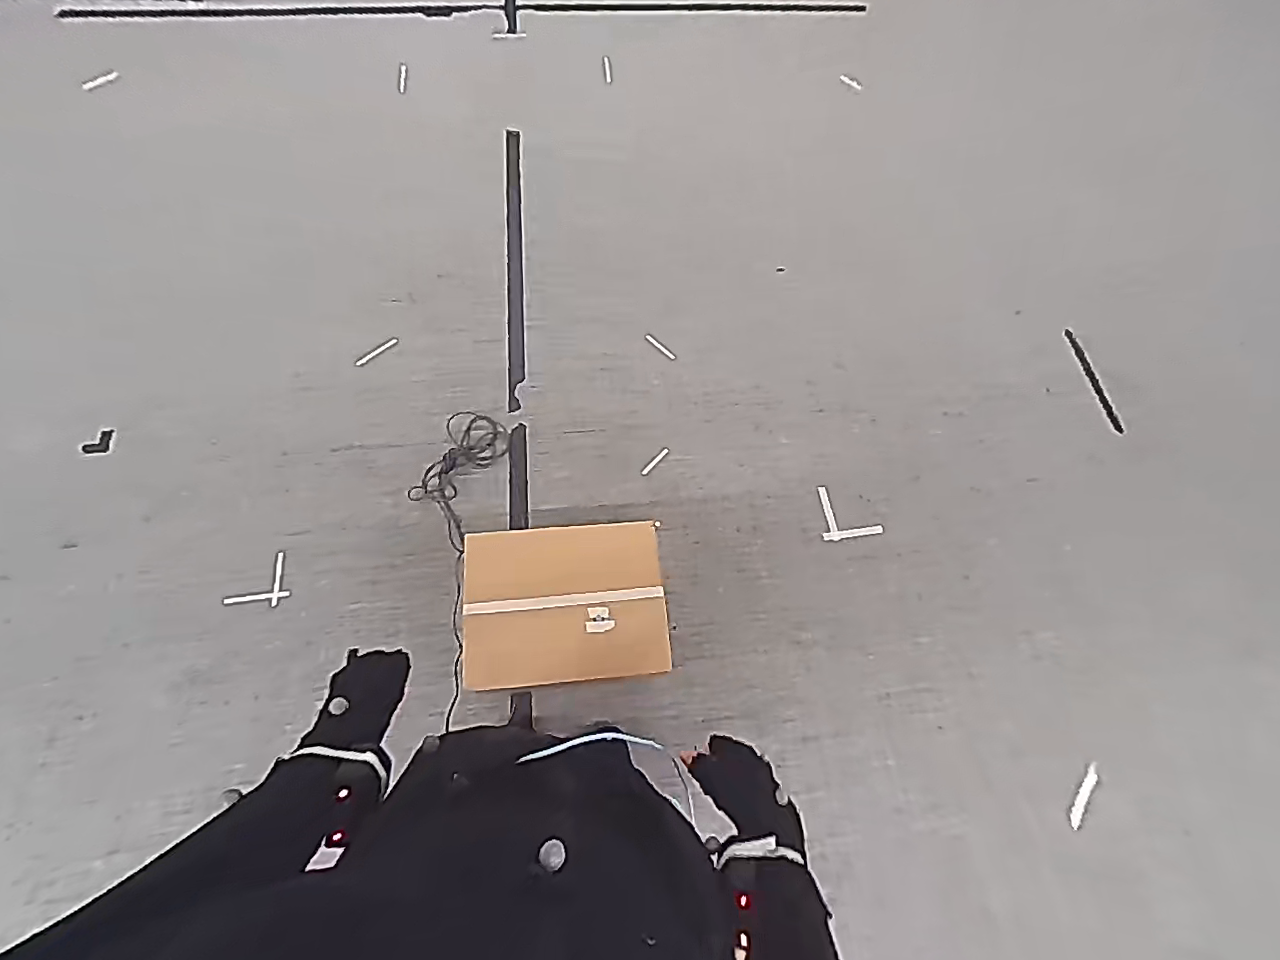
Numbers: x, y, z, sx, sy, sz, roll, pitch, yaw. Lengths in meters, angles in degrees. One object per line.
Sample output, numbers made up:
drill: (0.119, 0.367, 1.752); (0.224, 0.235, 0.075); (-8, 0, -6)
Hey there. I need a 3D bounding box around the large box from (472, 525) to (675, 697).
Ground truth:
large box: (-0.154, 0.309, 1.240); (0.408, 0.320, 0.320); (-3, 68, -7)
